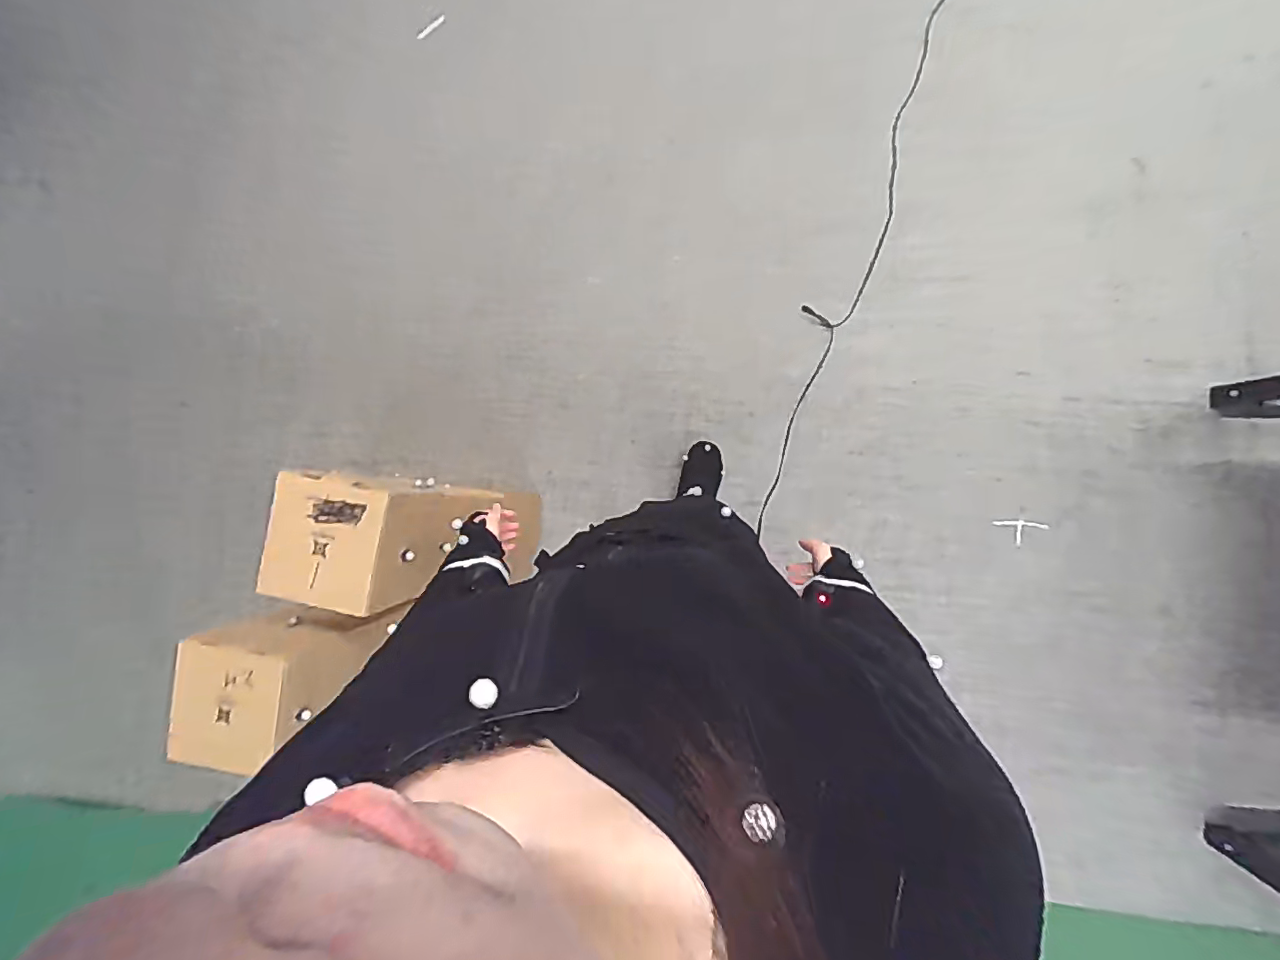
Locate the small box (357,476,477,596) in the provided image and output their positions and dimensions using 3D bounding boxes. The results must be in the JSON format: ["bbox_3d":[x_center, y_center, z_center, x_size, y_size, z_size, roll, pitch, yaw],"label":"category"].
[{"bbox_3d":[-0.415,0.095,0.985,0.168,0.176,0.179,11,90,6],"label":"small box"}]

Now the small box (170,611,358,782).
[{"bbox_3d":[-0.565,0.320,0.833,0.168,0.176,0.179,8,92,6],"label":"small box"}]

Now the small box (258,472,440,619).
[{"bbox_3d":[-0.426,0.090,0.821,0.168,0.176,0.179,11,91,6],"label":"small box"}]

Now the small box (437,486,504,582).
[{"bbox_3d":[-0.408,0.106,1.148,0.179,0.176,0.168,11,89,7],"label":"small box"}]
